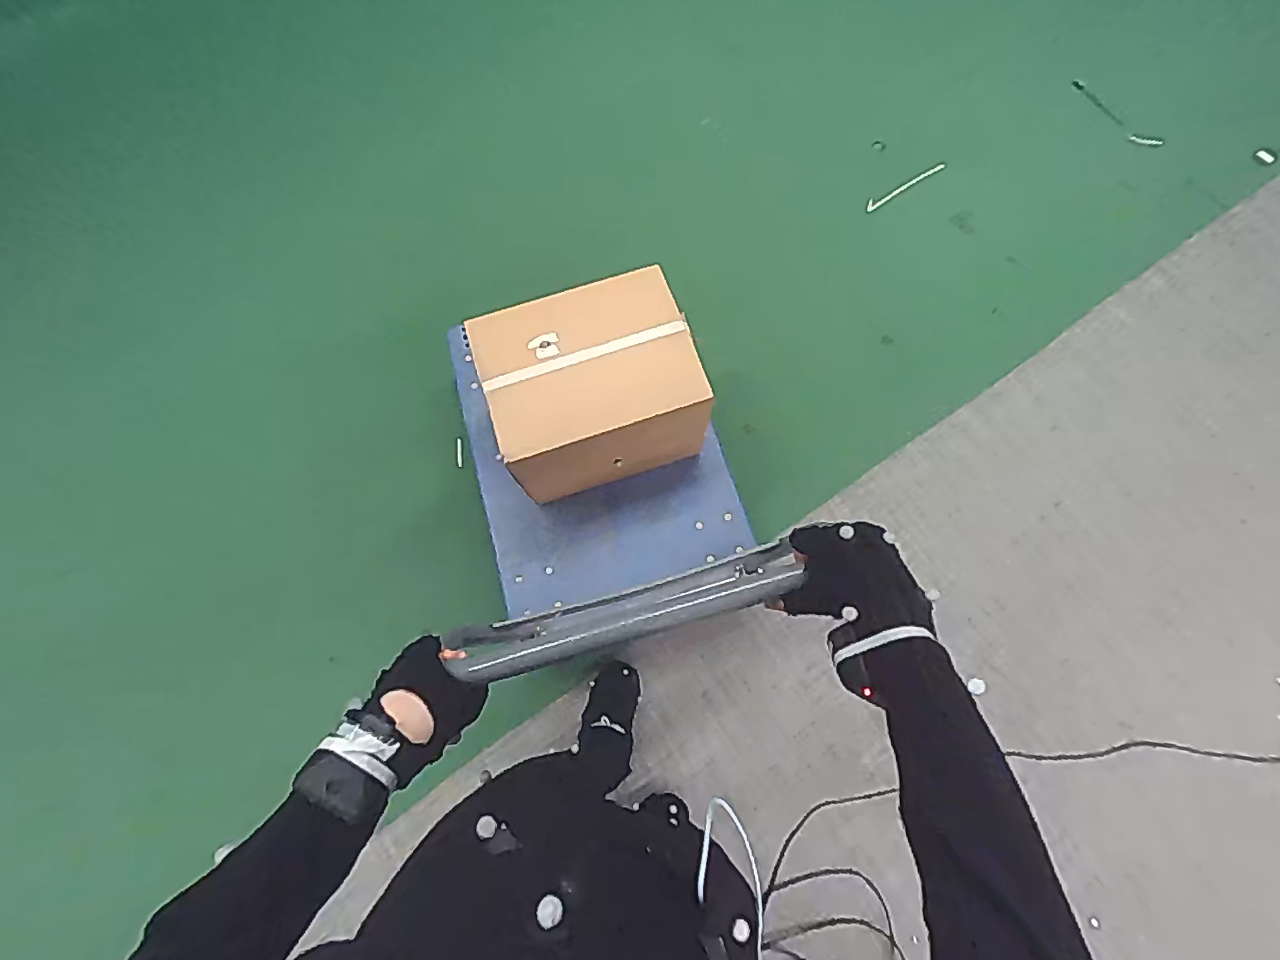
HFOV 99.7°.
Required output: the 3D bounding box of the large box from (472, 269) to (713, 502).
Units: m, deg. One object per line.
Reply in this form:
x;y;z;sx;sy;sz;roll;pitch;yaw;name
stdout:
-0.092;-0.185;1.180;0.408;0.320;0.320;-19;74;-4;large box
